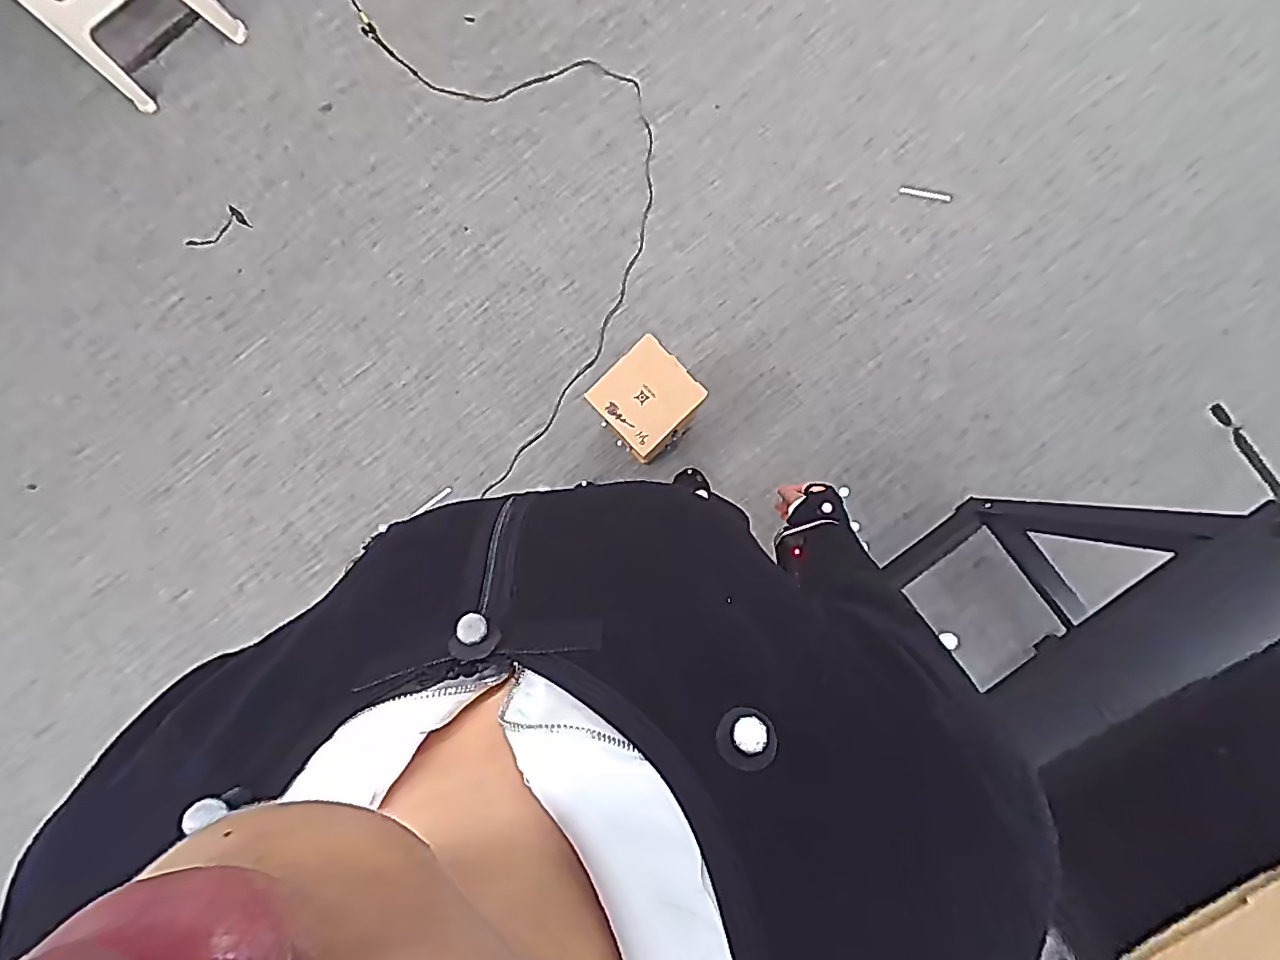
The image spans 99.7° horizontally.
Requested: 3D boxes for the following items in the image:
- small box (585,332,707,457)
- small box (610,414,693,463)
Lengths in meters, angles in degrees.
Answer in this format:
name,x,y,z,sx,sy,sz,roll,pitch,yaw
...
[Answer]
name,x,y,z,sx,sy,sz,roll,pitch,yaw
small box,0.011,-0.164,1.100,0.179,0.176,0.168,-44,88,0
small box,0.018,-0.161,1.427,0.179,0.176,0.168,-41,88,2
